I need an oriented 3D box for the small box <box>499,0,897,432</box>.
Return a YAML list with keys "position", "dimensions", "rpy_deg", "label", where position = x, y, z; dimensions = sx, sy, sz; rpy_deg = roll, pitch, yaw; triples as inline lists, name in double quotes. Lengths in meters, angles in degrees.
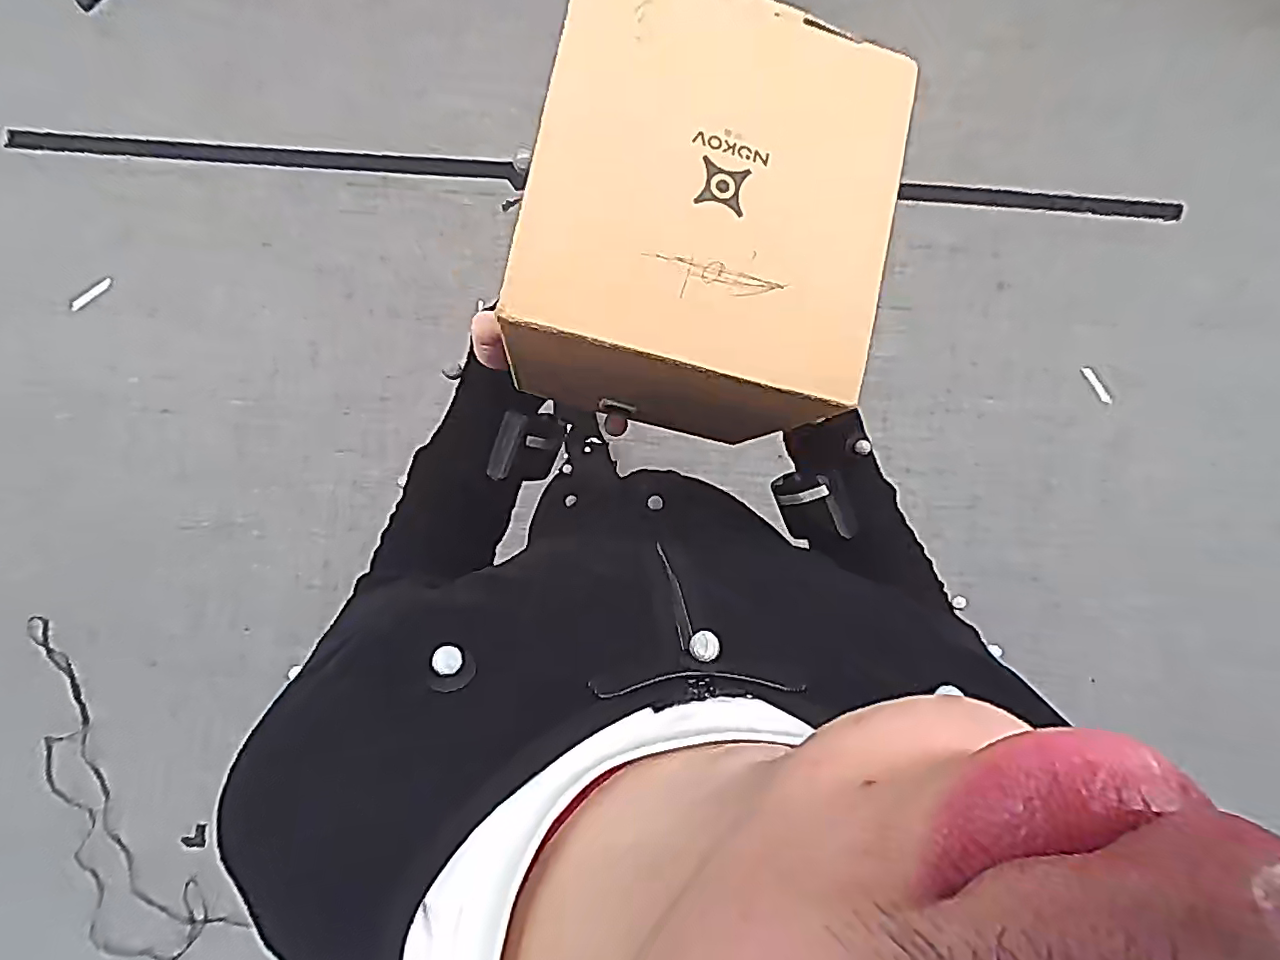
- position: [0.020, -0.139, 0.332]
  dimensions: [0.168, 0.176, 0.179]
  rpy_deg: [13, 86, -9]
  label: "small box"
